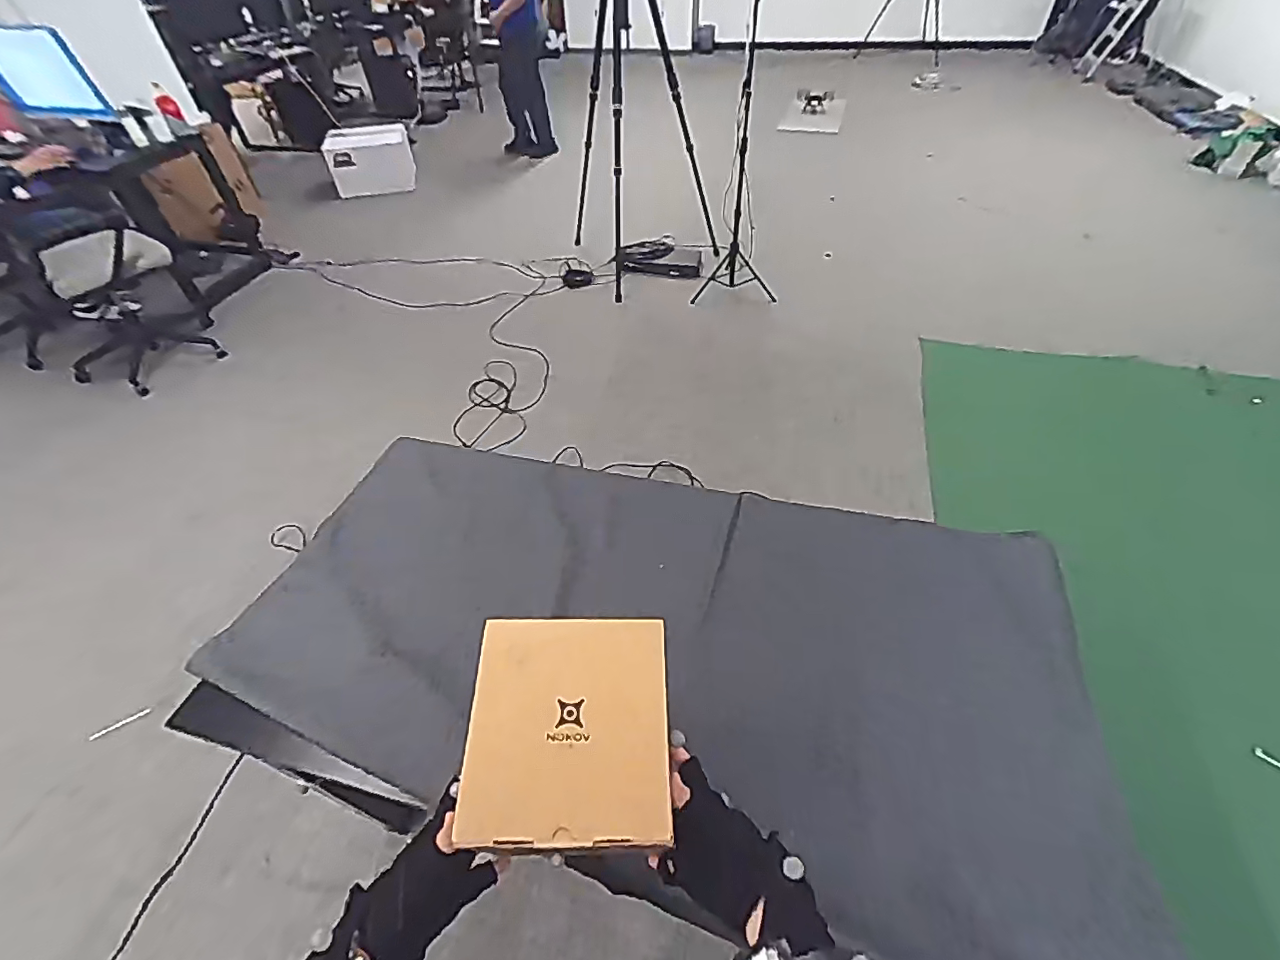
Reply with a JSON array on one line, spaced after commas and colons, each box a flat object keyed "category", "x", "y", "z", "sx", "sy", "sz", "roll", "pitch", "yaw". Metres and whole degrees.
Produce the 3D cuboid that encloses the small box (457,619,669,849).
[{"category": "small box", "x": -0.063, "y": 0.251, "z": 0.526, "sx": 0.168, "sy": 0.176, "sz": 0.179, "roll": 1, "pitch": 55, "yaw": -2}]
